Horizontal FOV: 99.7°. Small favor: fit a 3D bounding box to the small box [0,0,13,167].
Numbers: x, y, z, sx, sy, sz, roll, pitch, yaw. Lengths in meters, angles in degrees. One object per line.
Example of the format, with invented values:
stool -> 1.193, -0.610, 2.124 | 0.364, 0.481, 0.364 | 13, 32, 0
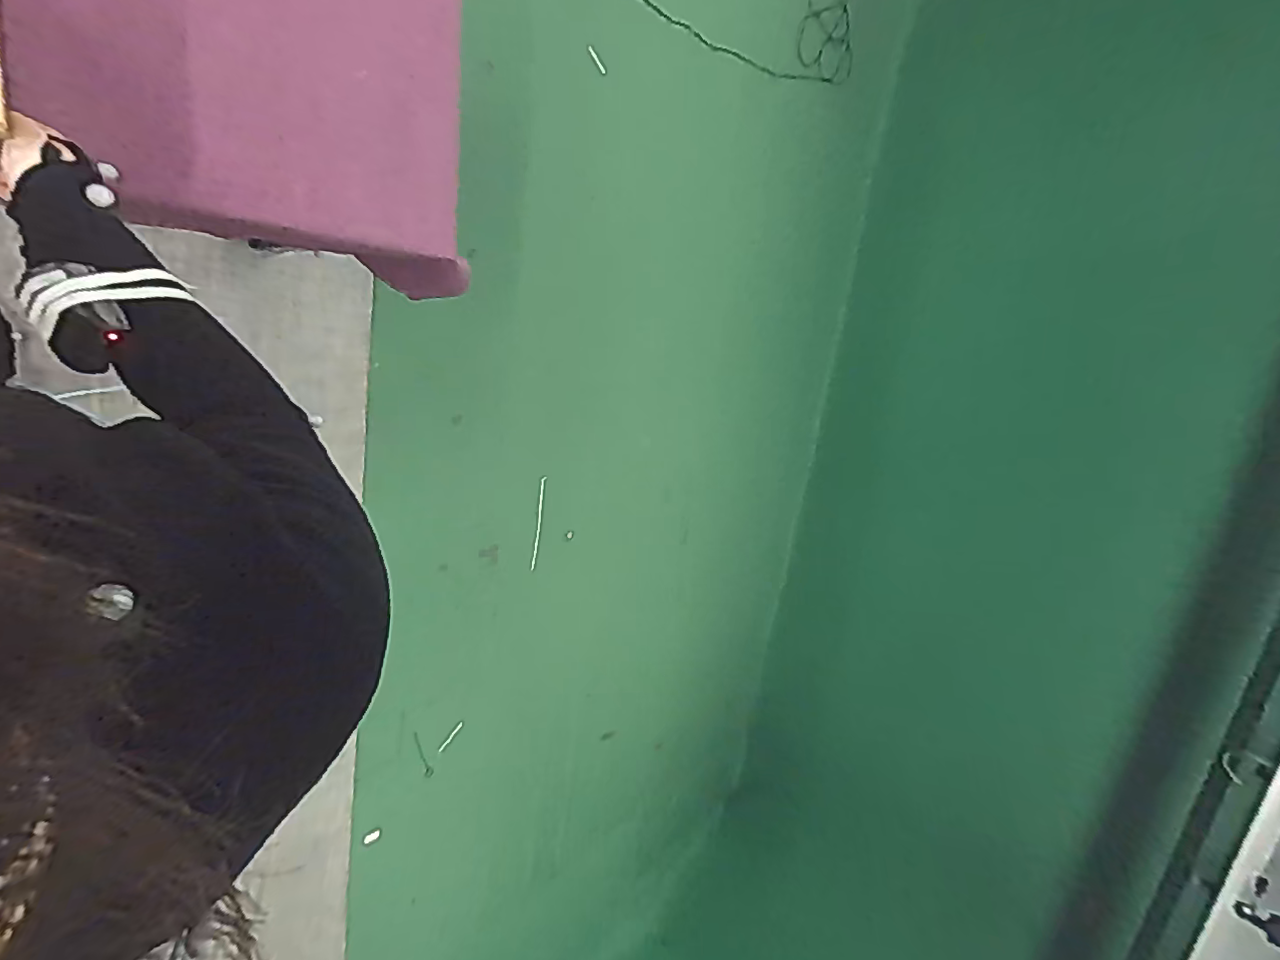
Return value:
small box -> -0.541, -0.334, 0.351 | 0.168, 0.176, 0.179 | -6, 108, -47
